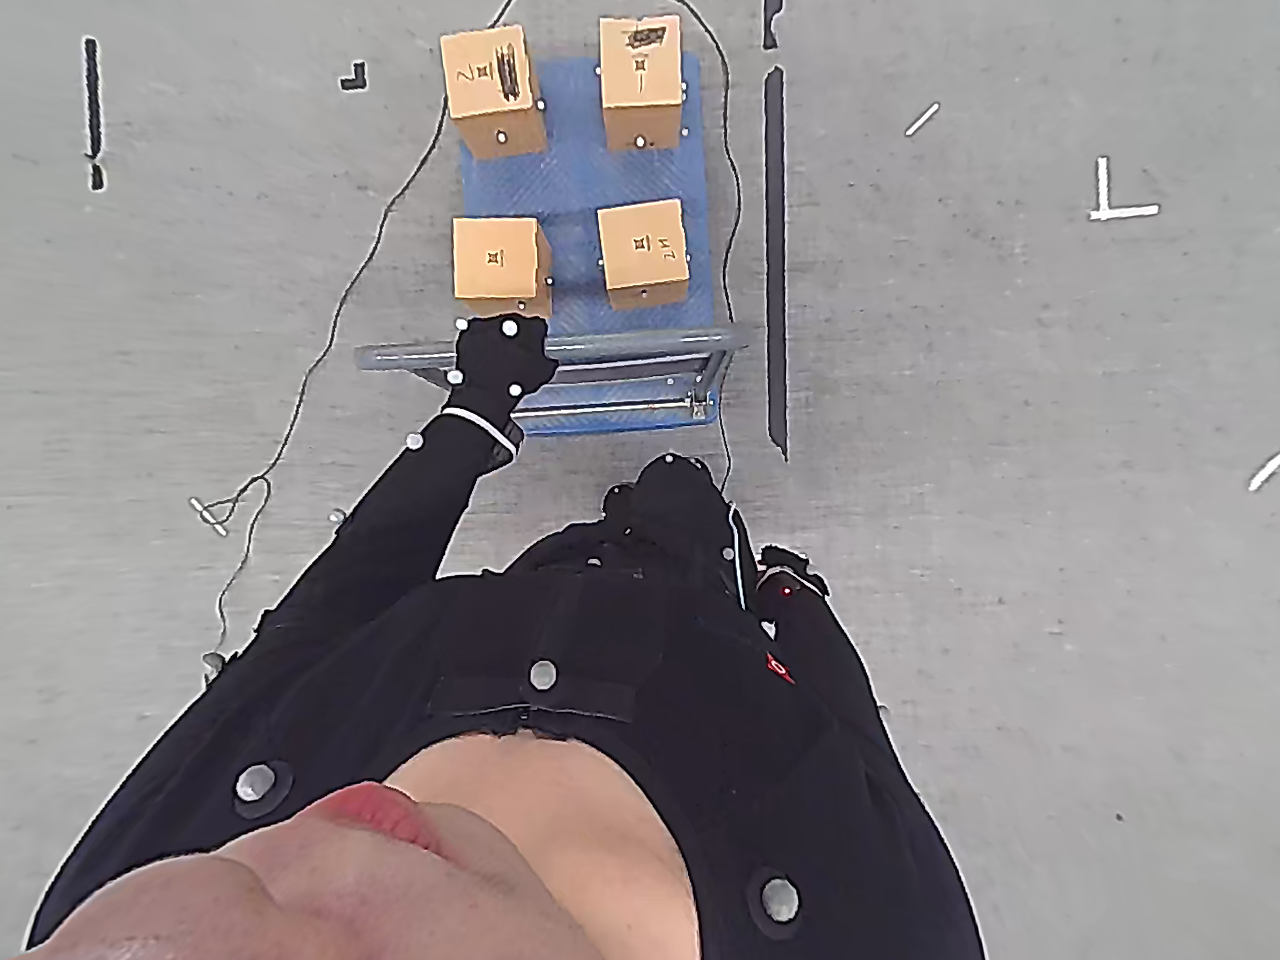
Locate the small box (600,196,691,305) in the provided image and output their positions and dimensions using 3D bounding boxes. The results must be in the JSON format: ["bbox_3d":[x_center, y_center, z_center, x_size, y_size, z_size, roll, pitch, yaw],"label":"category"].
[{"bbox_3d":[0.015,-0.496,1.193,0.179,0.176,0.168,-7,93,2],"label":"small box"}]

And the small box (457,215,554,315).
[{"bbox_3d":[-0.292,-0.471,1.203,0.179,0.176,0.168,-1,93,0],"label":"small box"}]

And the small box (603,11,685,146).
[{"bbox_3d":[0.008,-0.862,1.173,0.168,0.176,0.179,-2,94,2],"label":"small box"}]
